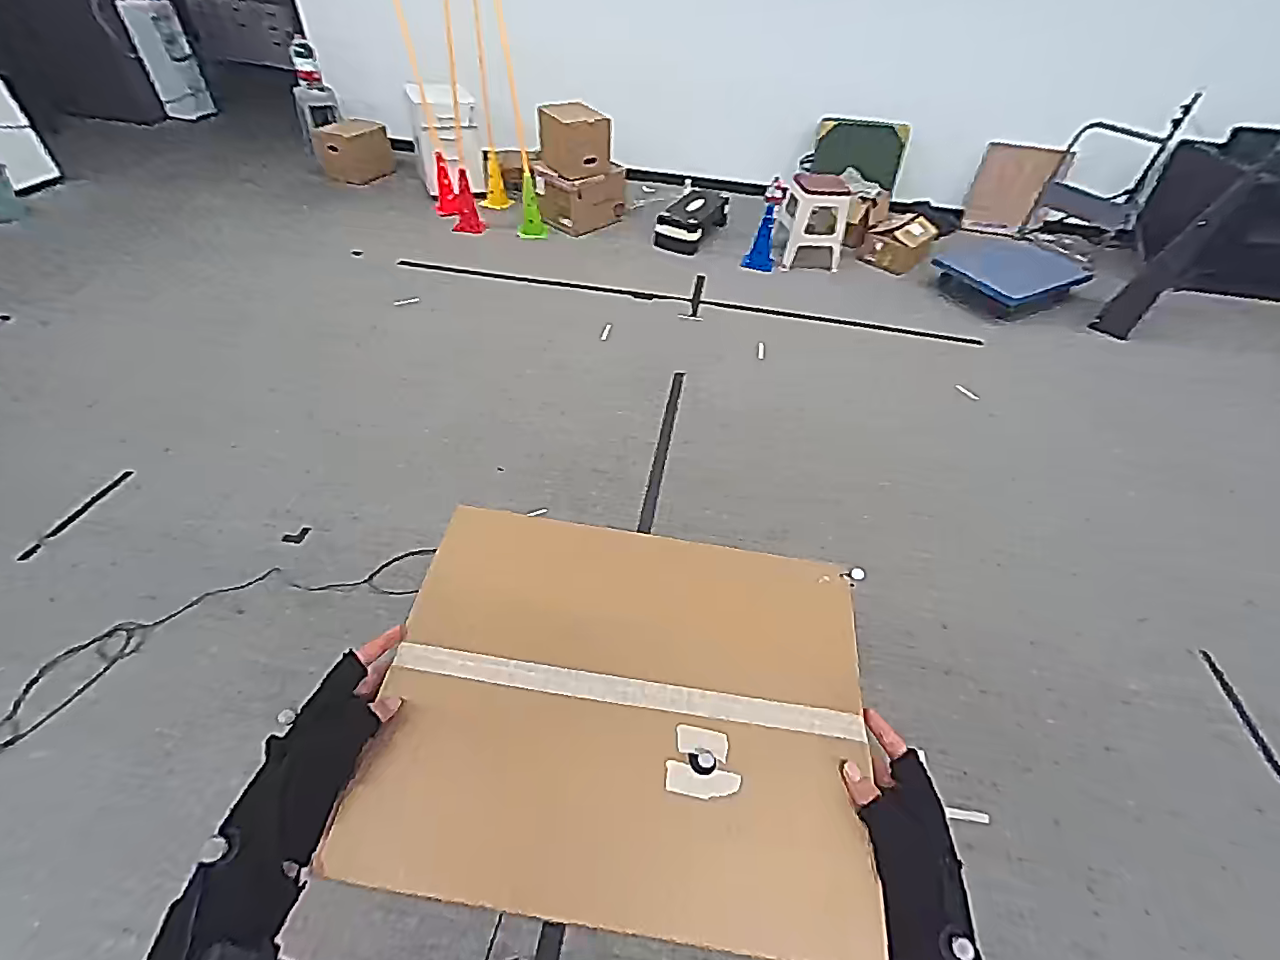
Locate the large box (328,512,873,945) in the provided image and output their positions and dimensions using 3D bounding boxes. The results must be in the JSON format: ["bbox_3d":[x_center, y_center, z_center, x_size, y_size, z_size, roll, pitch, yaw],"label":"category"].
[{"bbox_3d":[-0.025,0.267,0.591,0.408,0.320,0.320,9,54,1],"label":"large box"}]
